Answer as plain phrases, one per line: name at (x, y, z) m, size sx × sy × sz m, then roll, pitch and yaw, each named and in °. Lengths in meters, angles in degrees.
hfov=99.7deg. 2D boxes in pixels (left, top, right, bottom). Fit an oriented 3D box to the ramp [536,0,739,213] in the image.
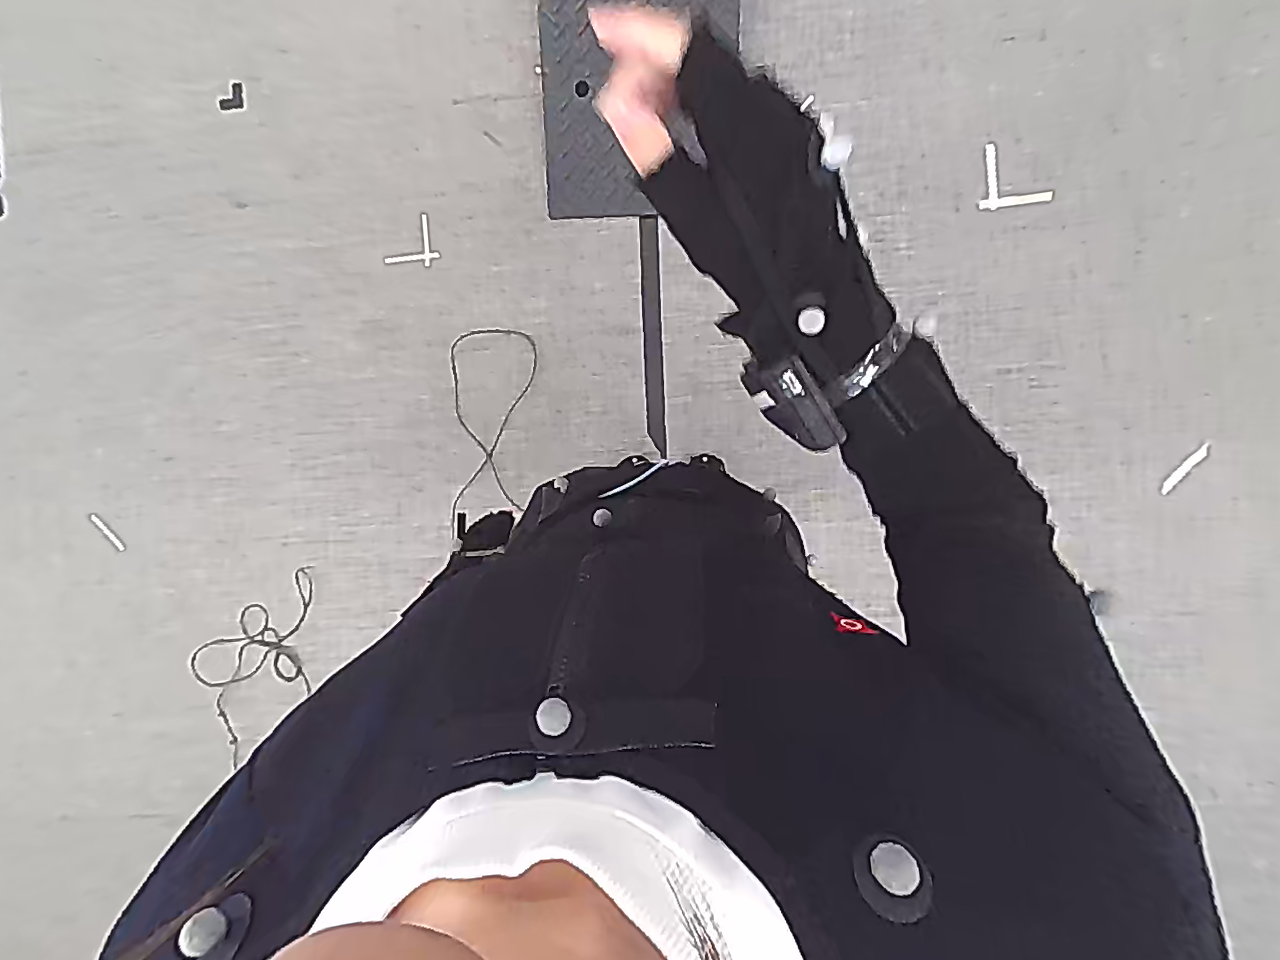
ramp at (-0.008, -1.190, 1.291) m, size 0.509 × 0.206 × 0.991 m, roll -2°, pitch 94°, yaw 3°
